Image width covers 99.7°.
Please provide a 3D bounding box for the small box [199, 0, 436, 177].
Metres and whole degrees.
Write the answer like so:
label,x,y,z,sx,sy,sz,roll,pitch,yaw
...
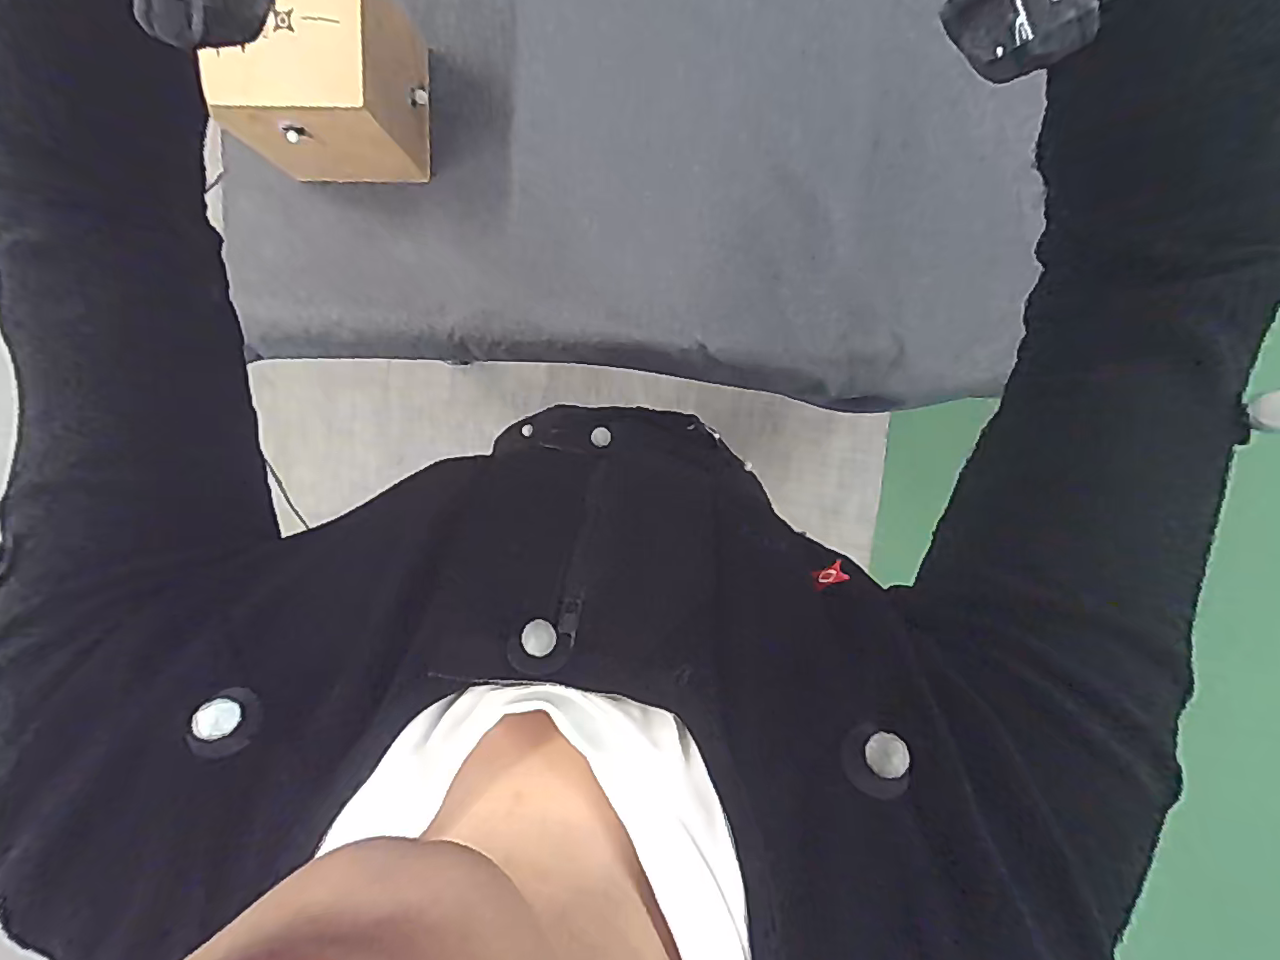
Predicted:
label,x,y,z,sx,sy,sz,roll,pitch,yaw
small box,-0.351,-0.467,0.614,0.179,0.176,0.168,2,96,1
